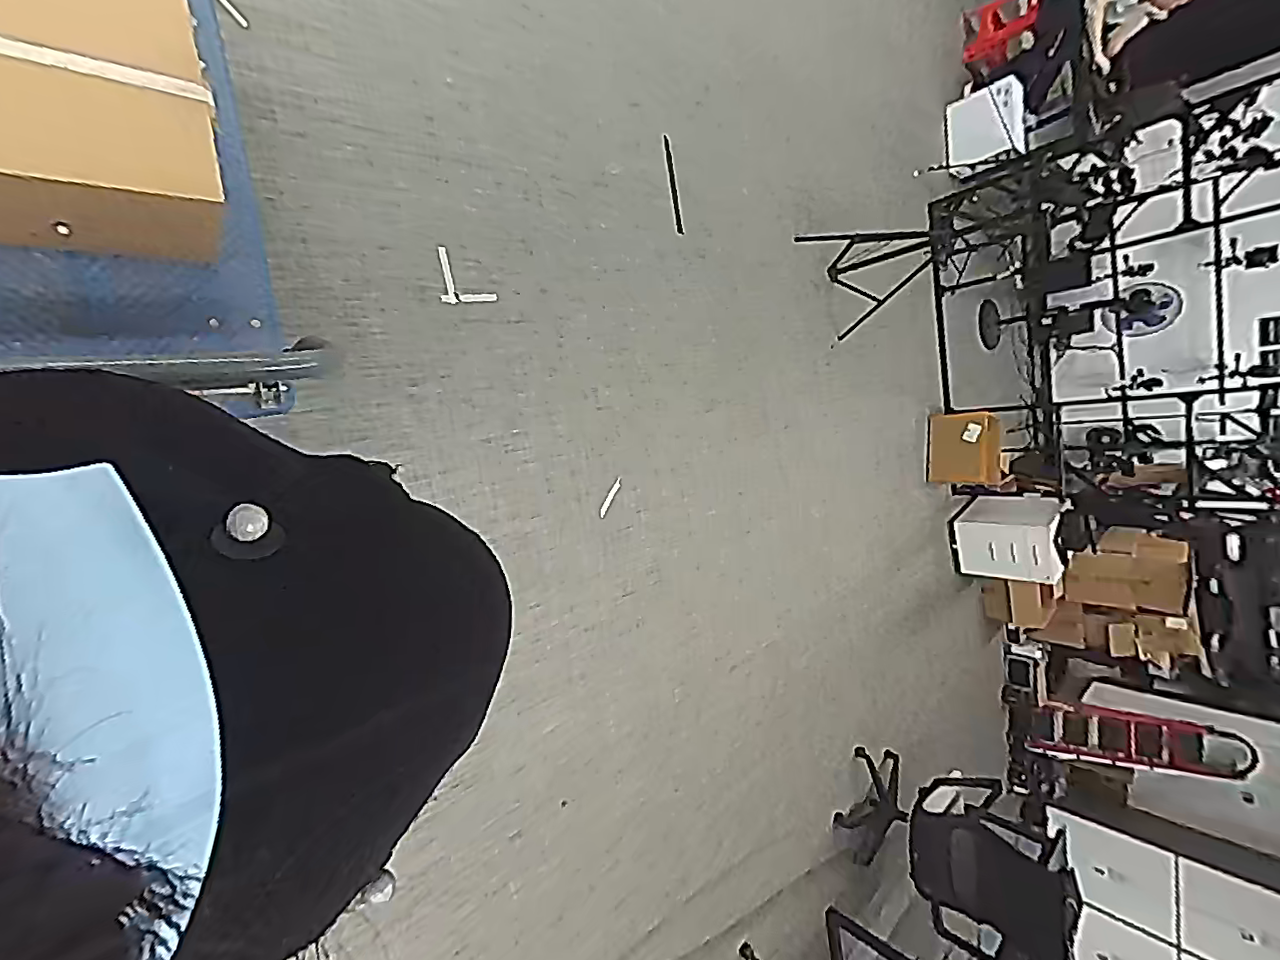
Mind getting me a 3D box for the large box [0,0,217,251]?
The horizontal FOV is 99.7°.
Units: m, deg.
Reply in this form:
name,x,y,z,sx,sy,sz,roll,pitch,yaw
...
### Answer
name,x,y,z,sx,sy,sz,roll,pitch,yaw
large box,-0.921,-0.563,0.815,0.408,0.320,0.320,-11,97,-39
